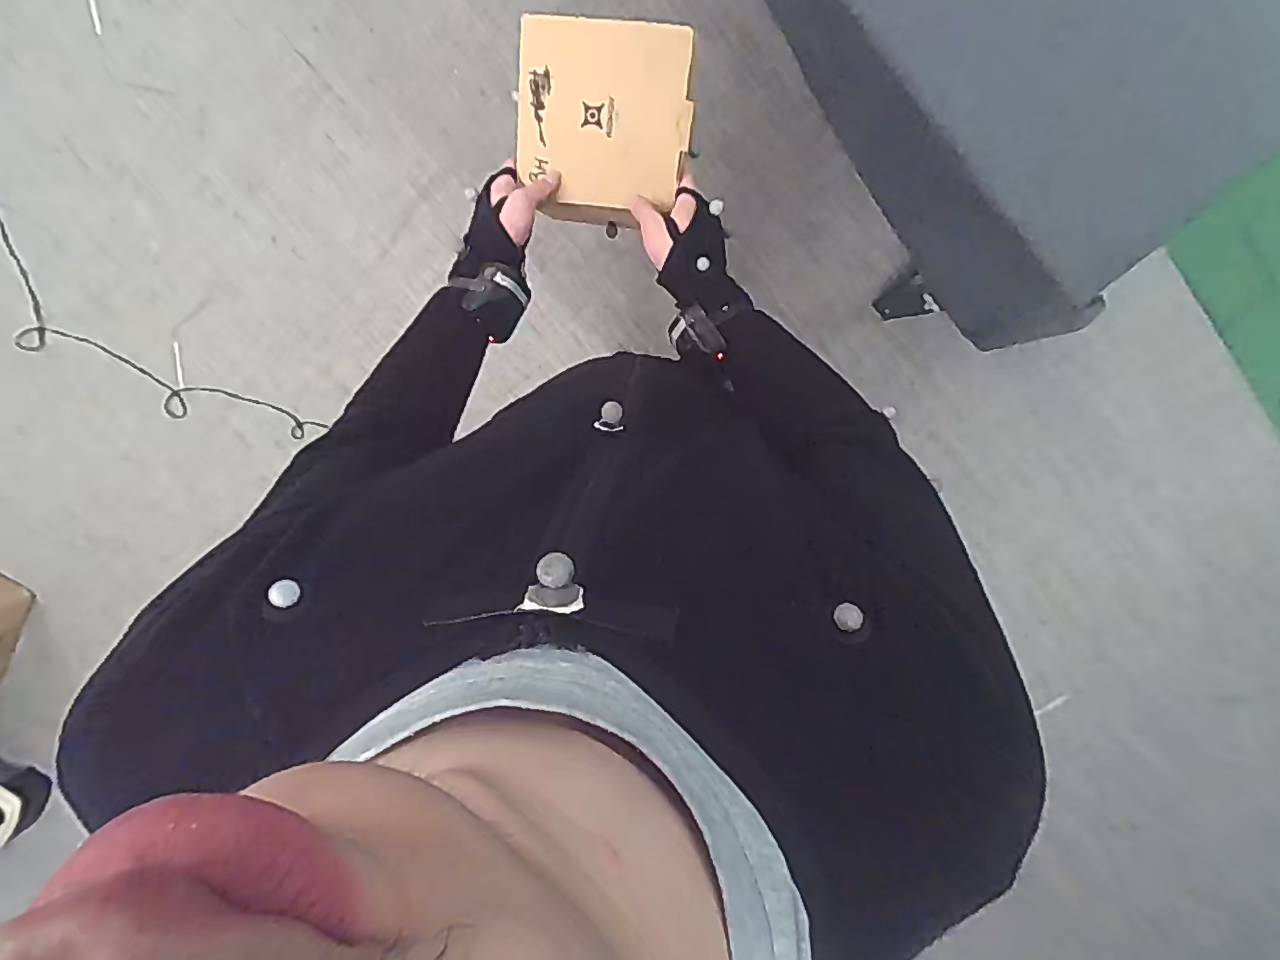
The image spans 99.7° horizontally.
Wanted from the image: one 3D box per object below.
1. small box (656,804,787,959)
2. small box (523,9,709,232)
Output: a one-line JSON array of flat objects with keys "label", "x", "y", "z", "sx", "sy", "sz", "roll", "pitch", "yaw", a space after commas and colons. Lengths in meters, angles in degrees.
[{"label": "small box", "x": 0.144, "y": 0.767, "z": 1.025, "sx": 0.179, "sy": 0.176, "sz": 0.168, "roll": -40, "pitch": 99, "yaw": 10}, {"label": "small box", "x": -0.024, "y": -0.383, "z": 0.609, "sx": 0.179, "sy": 0.176, "sz": 0.168, "roll": 6, "pitch": 108, "yaw": 1}]
